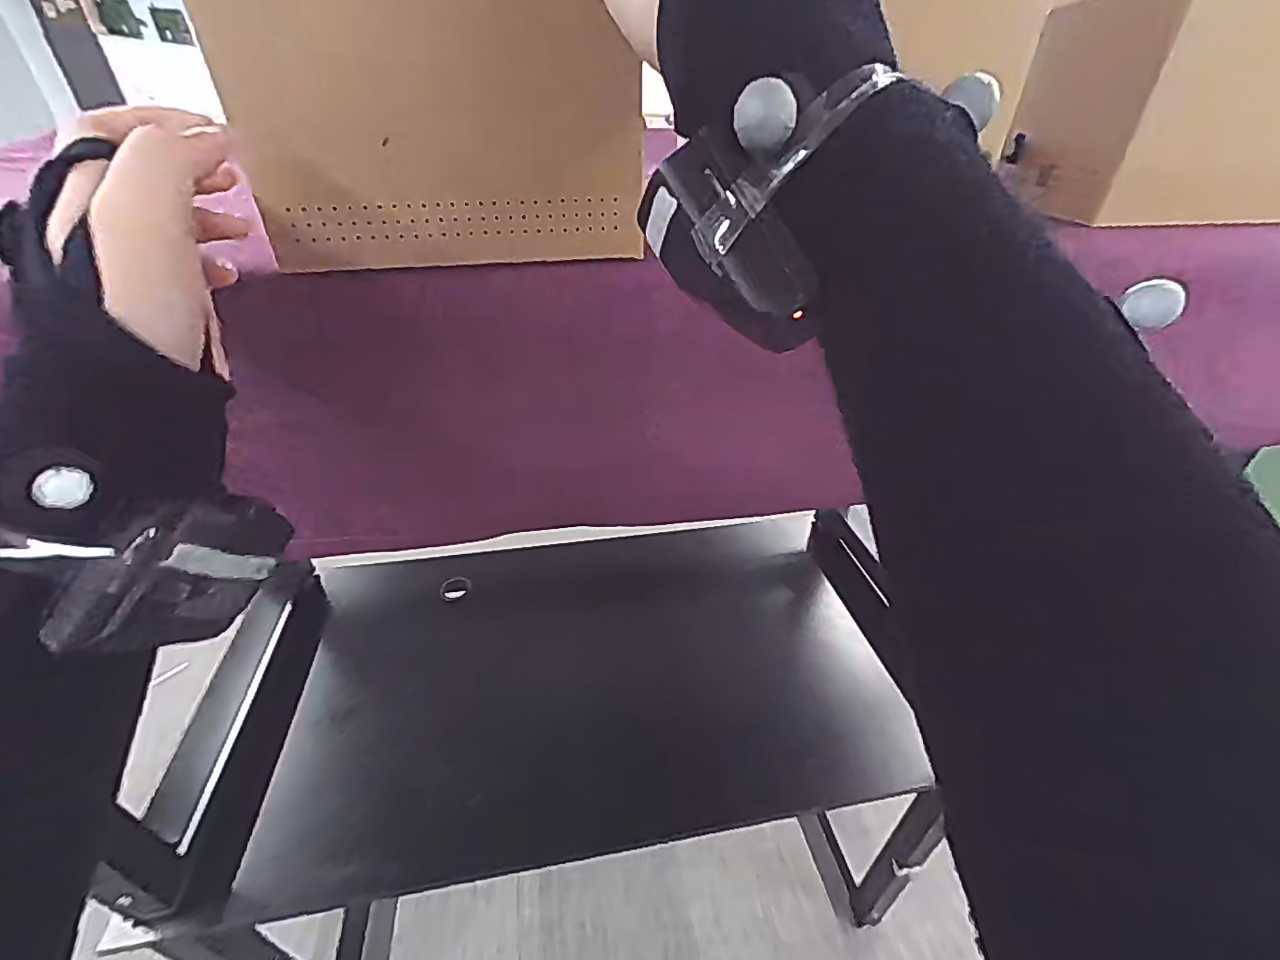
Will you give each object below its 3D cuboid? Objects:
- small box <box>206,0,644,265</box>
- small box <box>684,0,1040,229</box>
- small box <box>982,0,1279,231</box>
[{"bbox_3d":[-0.096,-0.216,0.279,0.179,0.176,0.168,-6,36,-10],"label":"small box"},{"bbox_3d":[0.129,-0.270,0.361,0.168,0.176,0.179,-5,35,-8],"label":"small box"},{"bbox_3d":[0.379,-0.281,0.380,0.179,0.176,0.168,-3,34,-4],"label":"small box"}]
